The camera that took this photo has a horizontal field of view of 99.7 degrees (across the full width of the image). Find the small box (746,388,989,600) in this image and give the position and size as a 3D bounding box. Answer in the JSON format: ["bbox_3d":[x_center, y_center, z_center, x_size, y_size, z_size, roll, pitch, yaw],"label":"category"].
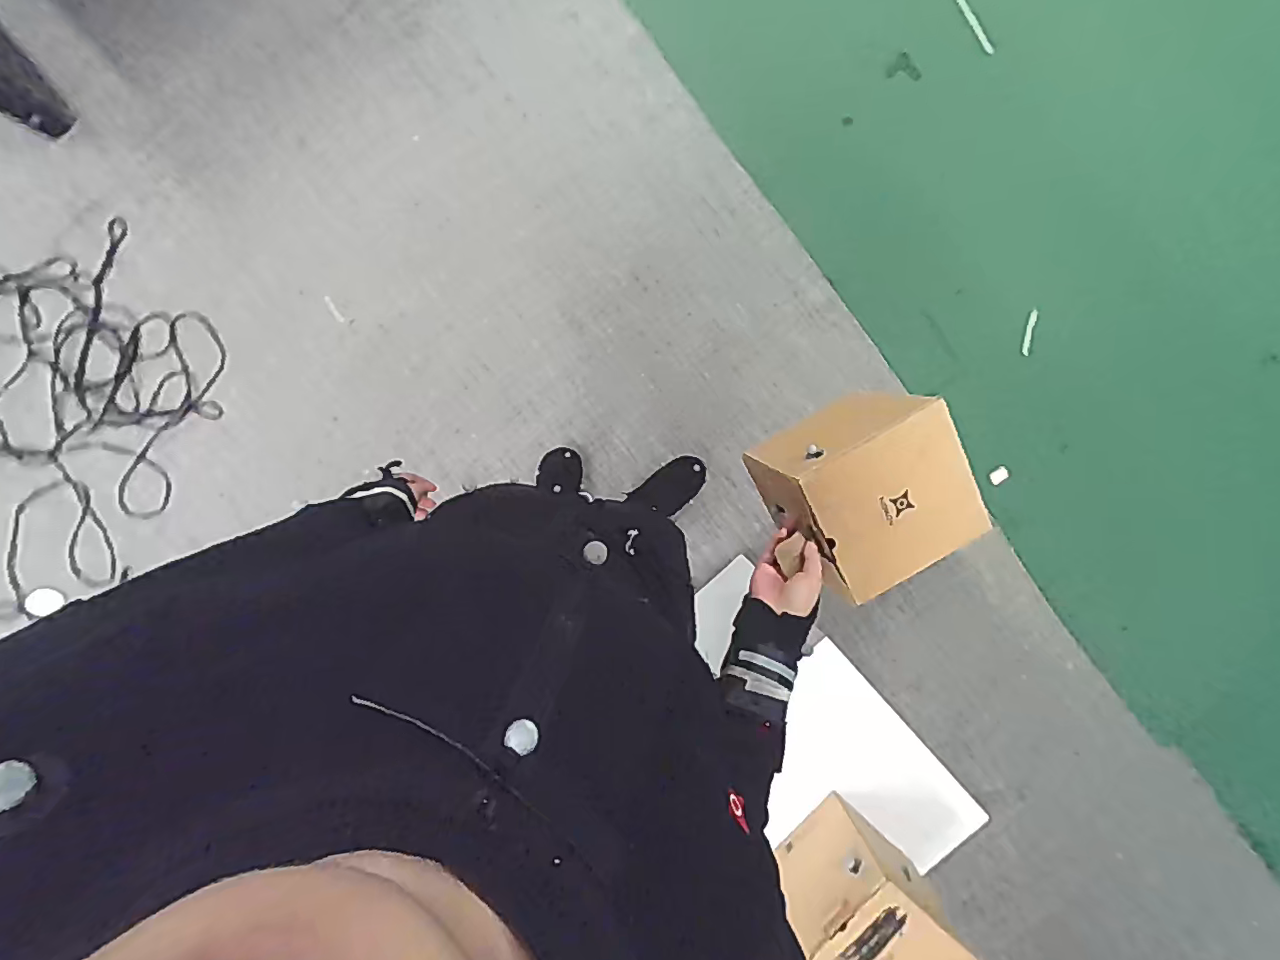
[{"bbox_3d":[0.255,0.003,0.640,0.179,0.176,0.168,-31,105,-1],"label":"small box"}]
